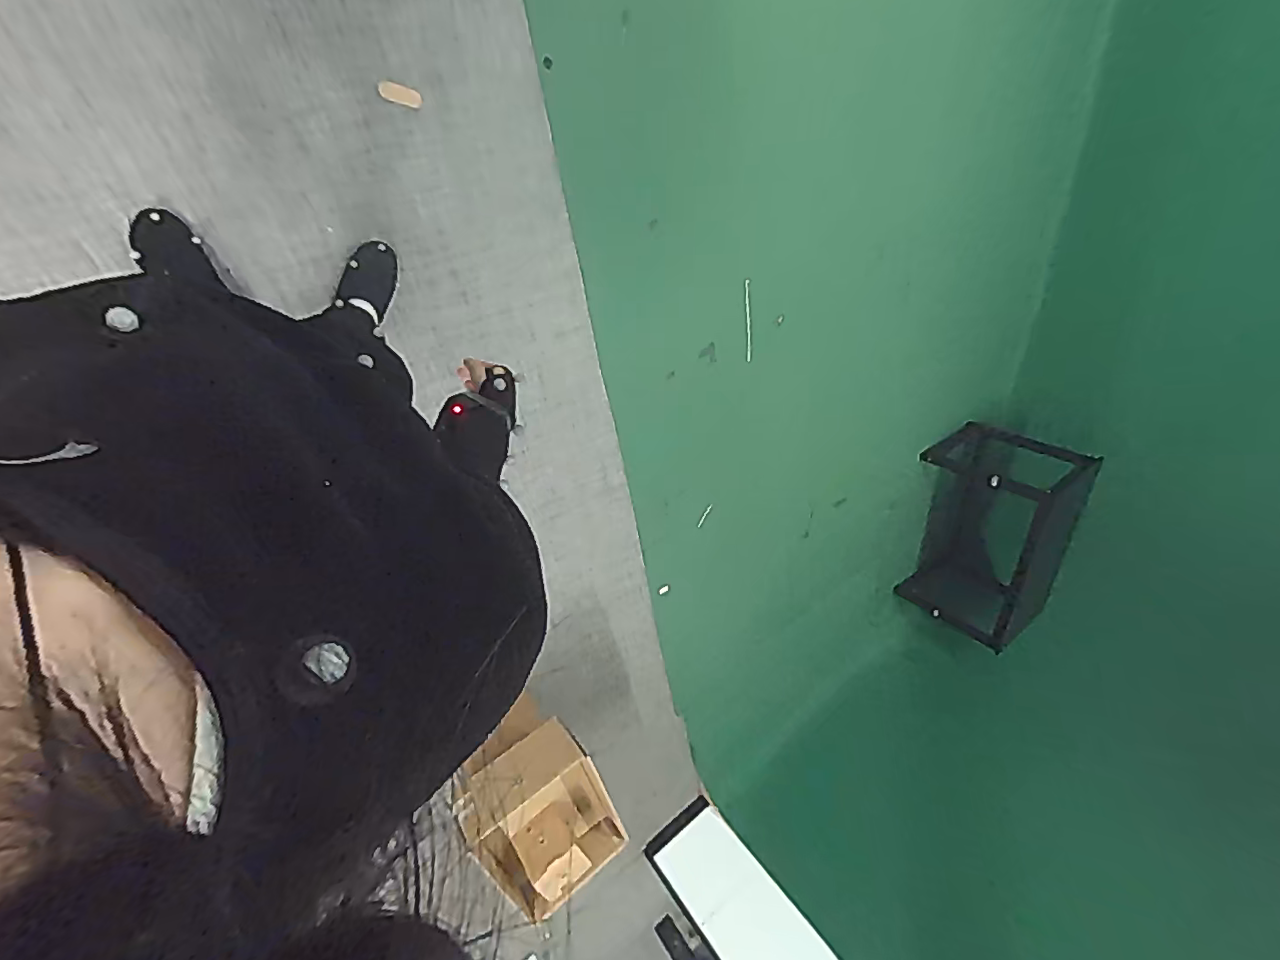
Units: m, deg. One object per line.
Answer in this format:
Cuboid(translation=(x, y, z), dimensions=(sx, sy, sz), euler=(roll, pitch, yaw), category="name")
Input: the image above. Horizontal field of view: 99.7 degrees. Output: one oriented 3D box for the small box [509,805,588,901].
Cuboid(translation=(-0.302, 1.210, 1.769), dimensions=(0.168, 0.176, 0.179), euler=(-33, 127, -20), category="small box")
